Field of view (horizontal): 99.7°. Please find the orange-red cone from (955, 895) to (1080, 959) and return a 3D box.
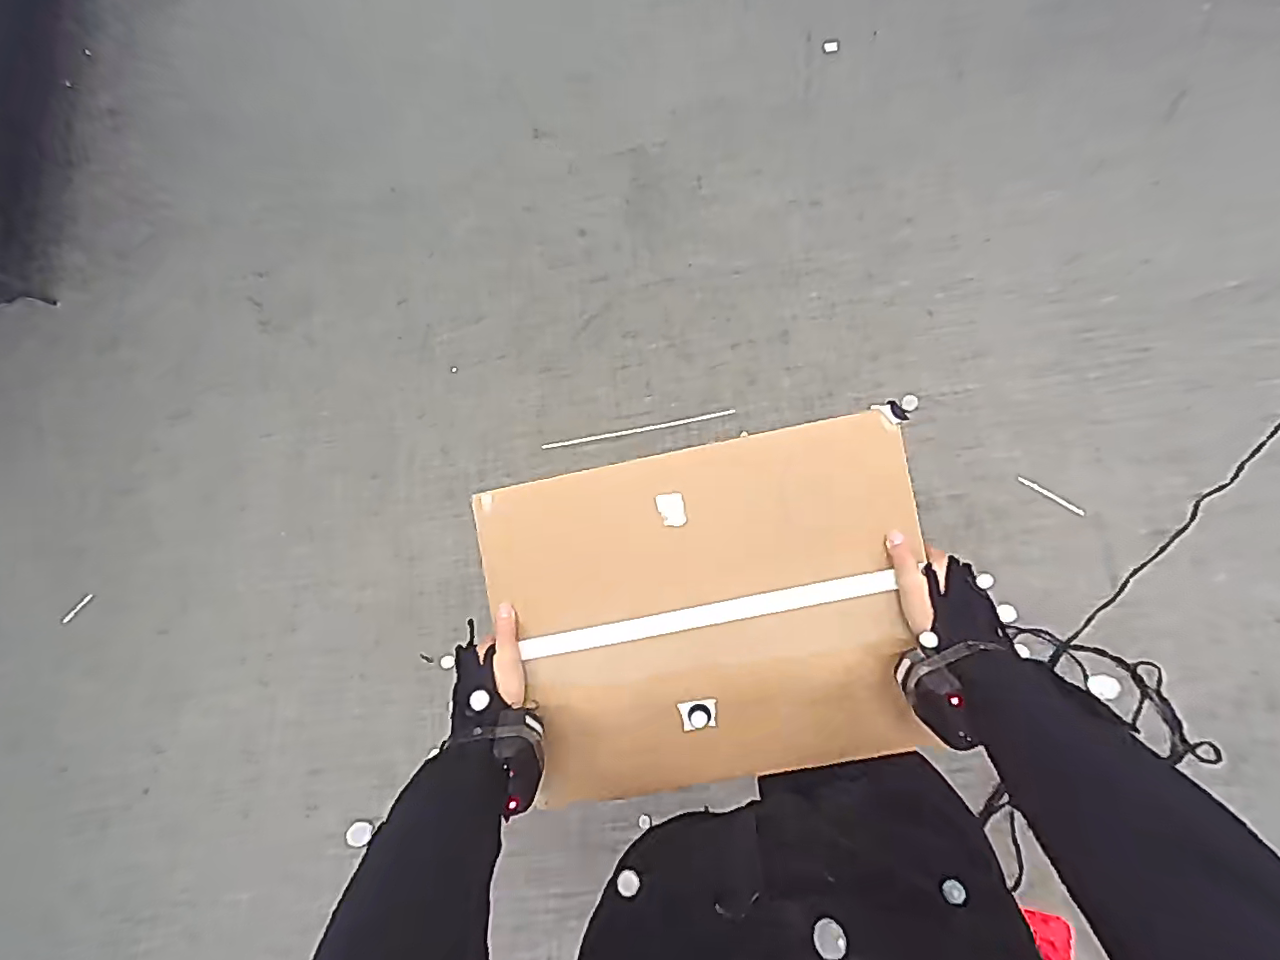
[{"bbox_3d":[0.636,0.825,0.788,0.199,0.360,0.198,10,79,10],"label":"orange-red cone"}]
